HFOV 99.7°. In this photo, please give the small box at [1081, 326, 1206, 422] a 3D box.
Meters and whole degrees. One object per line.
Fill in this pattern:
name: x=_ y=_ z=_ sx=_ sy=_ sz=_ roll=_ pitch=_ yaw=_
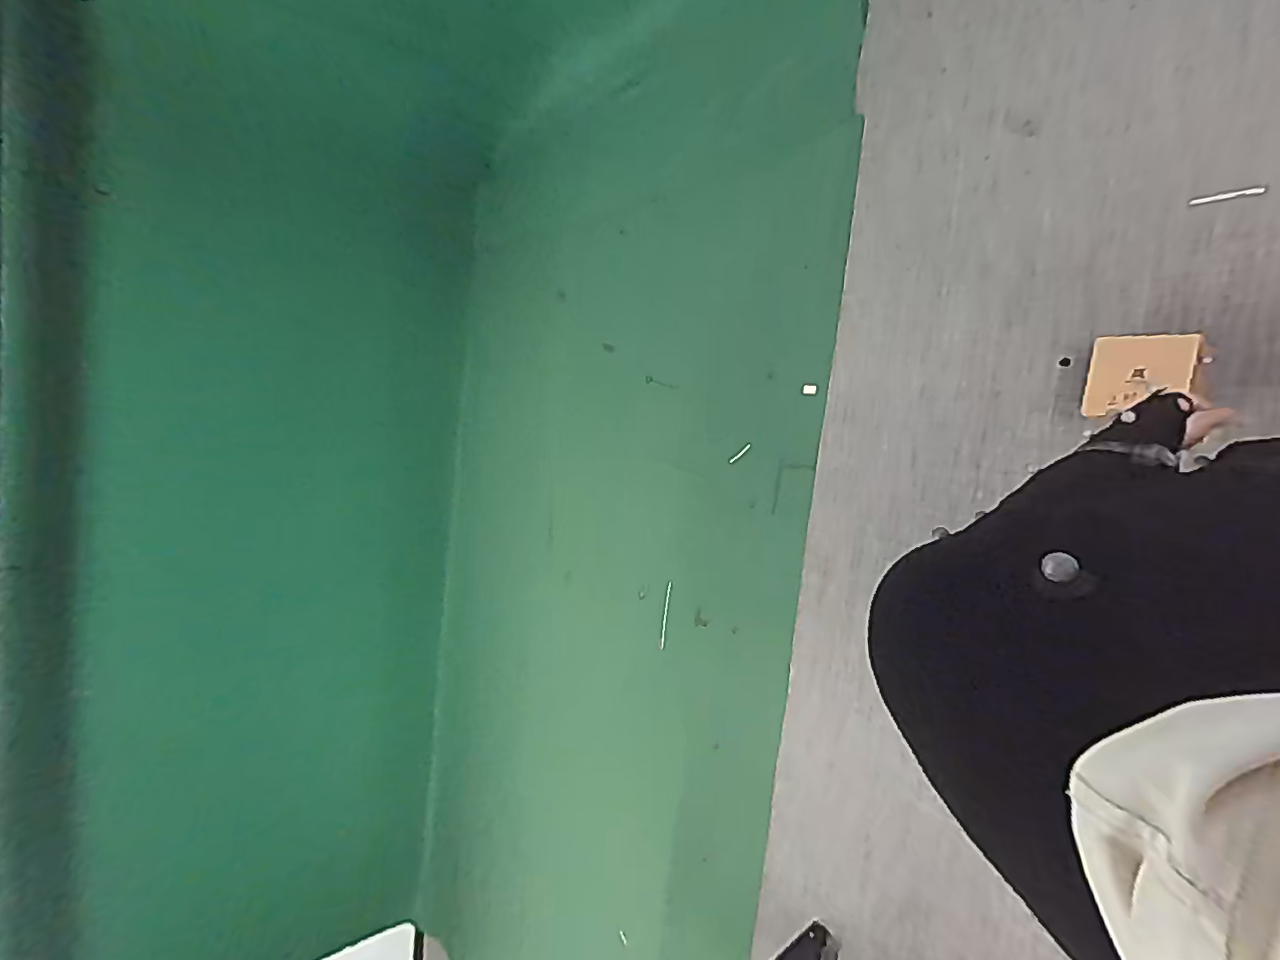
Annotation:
small box: x=1.102 y=-0.228 z=1.182 sx=0.168 sy=0.176 sz=0.179 roll=15 pitch=100 yaw=49
